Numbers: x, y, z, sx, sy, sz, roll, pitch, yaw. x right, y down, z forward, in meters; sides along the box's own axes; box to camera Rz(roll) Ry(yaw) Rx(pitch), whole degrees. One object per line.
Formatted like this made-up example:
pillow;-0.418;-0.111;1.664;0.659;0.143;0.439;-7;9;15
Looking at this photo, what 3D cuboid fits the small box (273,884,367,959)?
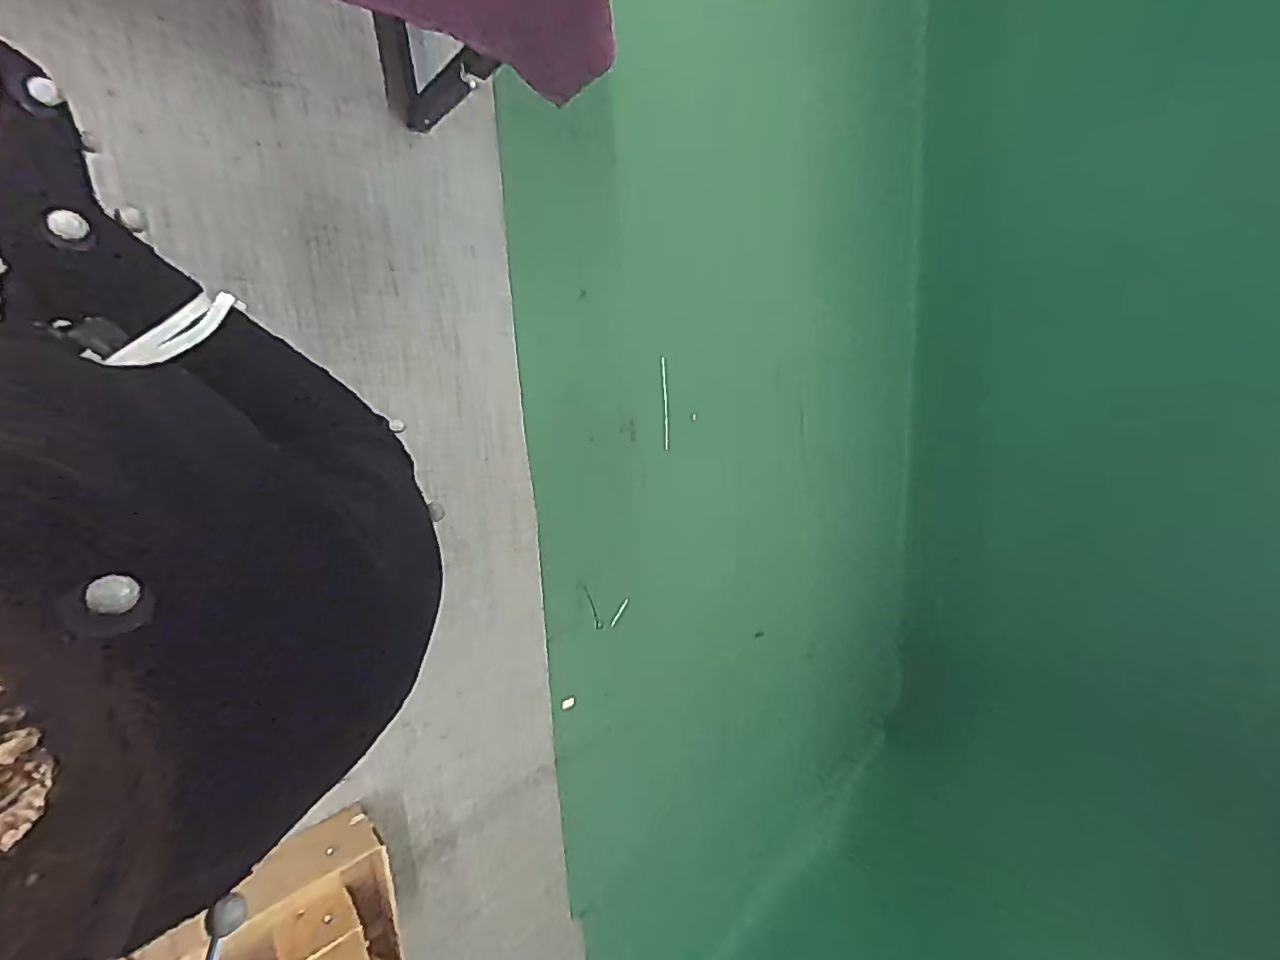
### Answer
small box;-0.800;1.164;1.352;0.168;0.176;0.179;-8;102;-42
